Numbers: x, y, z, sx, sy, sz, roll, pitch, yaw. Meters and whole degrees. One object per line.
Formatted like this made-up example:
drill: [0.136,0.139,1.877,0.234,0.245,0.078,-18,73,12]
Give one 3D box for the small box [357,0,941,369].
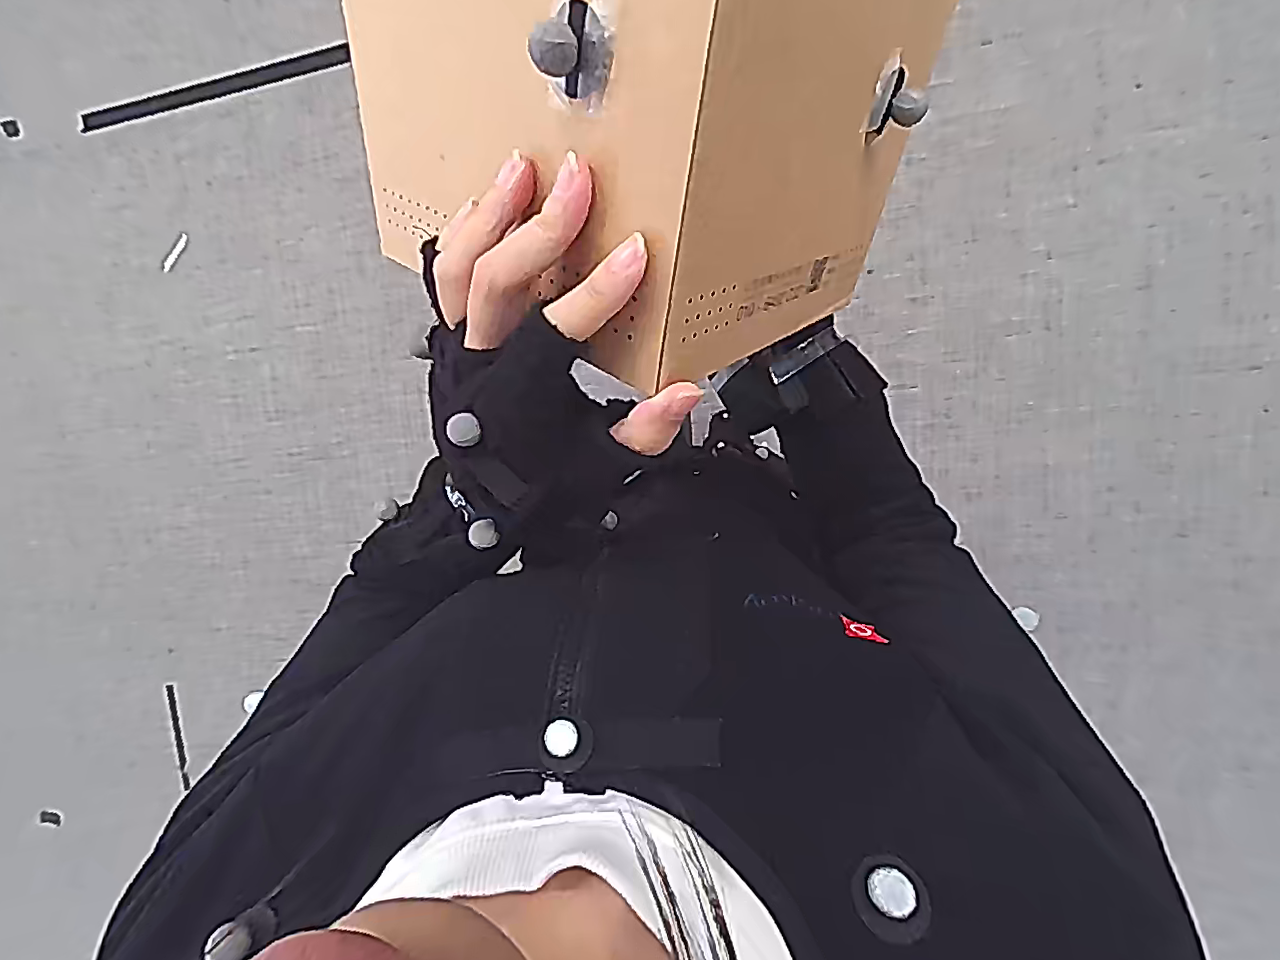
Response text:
small box: [0.004,-0.162,0.231,0.179,0.168,0.176,32,133,28]
